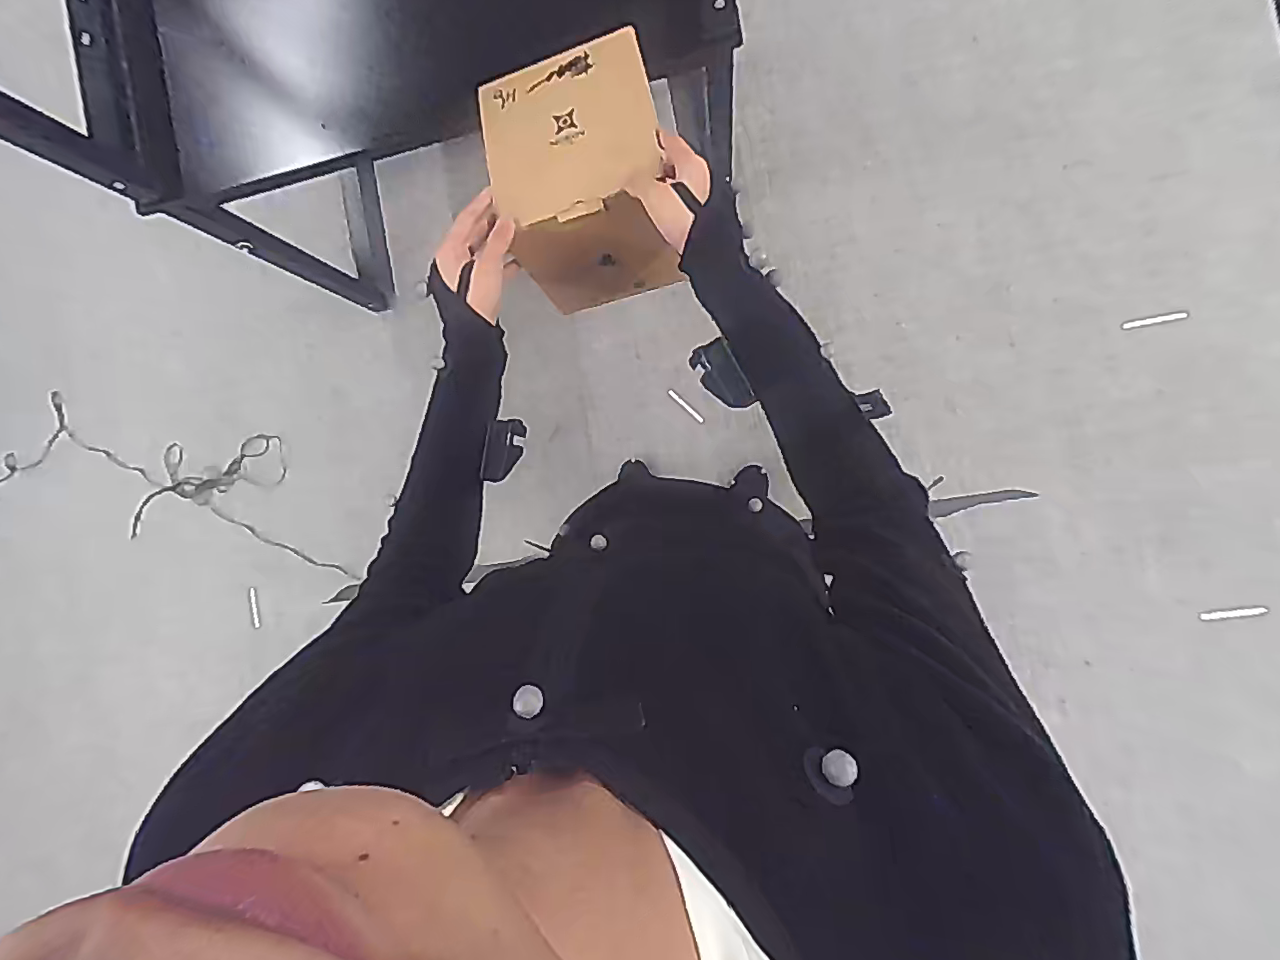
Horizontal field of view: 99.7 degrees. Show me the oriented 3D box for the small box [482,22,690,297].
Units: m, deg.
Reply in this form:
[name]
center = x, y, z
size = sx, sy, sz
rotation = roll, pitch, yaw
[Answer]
[small box]
center = -0.048, -0.321, 0.586
size = 0.168, 0.176, 0.179
rotation = -12, 79, 11
